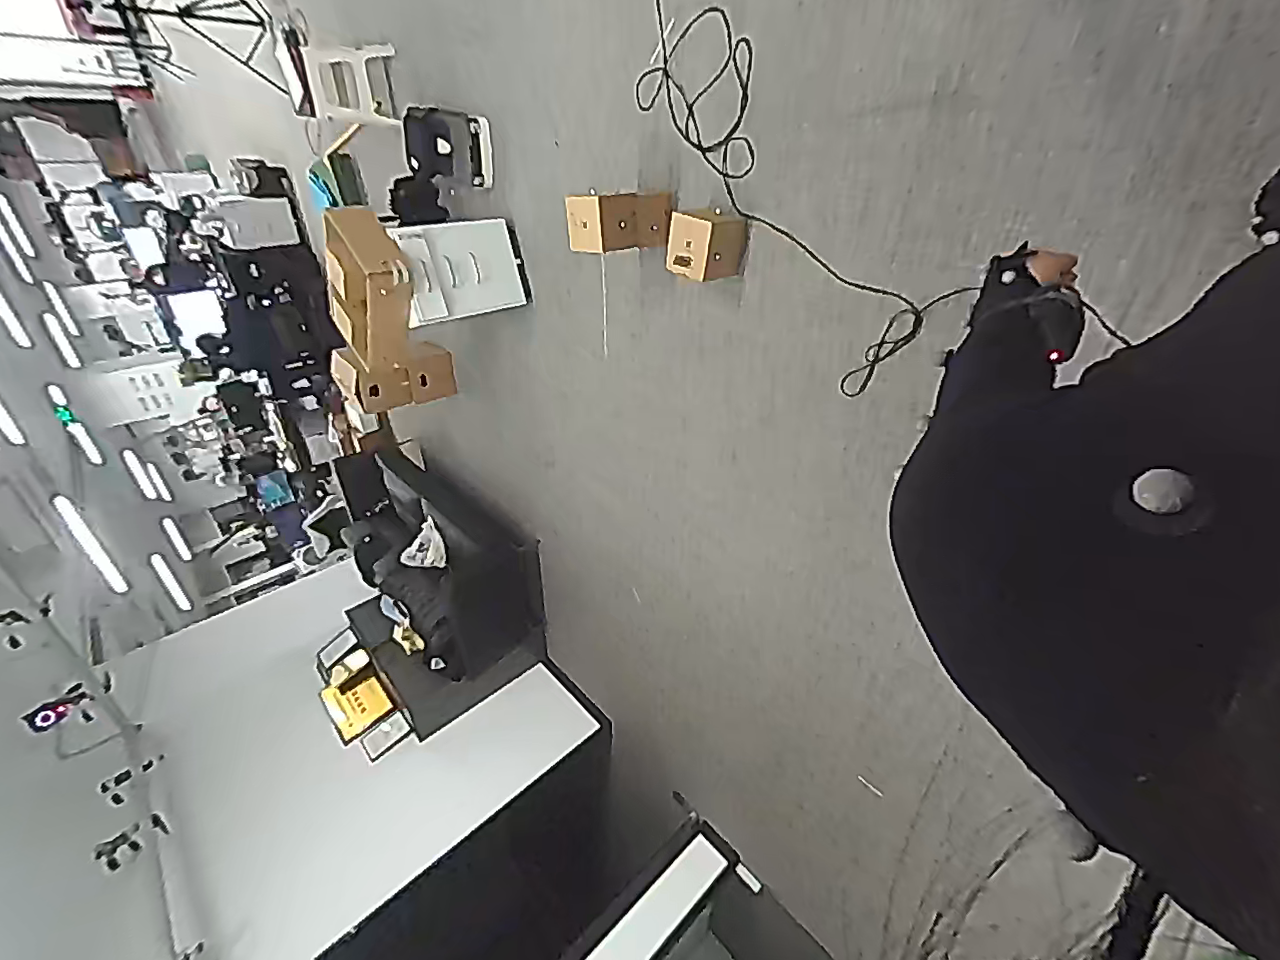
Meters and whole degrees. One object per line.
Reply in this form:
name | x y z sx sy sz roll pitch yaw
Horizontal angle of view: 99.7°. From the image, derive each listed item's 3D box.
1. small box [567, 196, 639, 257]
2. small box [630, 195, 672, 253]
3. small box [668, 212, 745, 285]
small box | -0.116 -0.846 1.795 0.179 0.176 0.168 27 131 41
small box | 0.000 -0.904 1.897 0.179 0.176 0.168 28 132 40
small box | 0.213 -0.743 1.726 0.168 0.176 0.179 35 135 34
